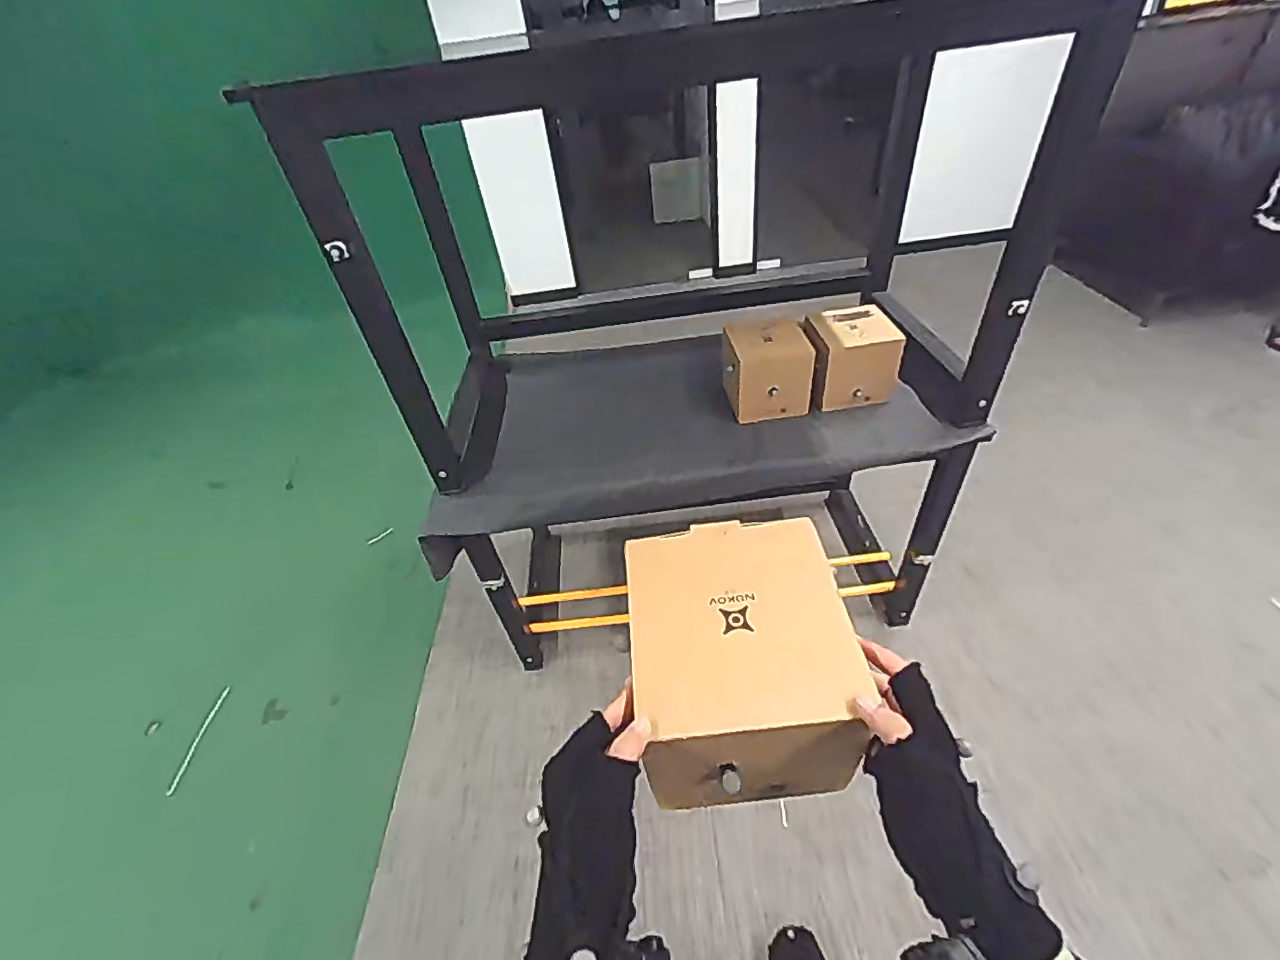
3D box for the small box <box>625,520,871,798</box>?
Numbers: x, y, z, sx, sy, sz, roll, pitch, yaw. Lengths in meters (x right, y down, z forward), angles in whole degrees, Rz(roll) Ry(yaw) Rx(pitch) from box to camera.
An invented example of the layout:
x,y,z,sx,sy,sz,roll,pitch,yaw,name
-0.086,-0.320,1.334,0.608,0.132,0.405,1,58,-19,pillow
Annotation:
x,y,z,sx,sy,sz,roll,pitch,yaw,name
0.083,0.164,0.481,0.168,0.176,0.179,-8,44,2,small box
